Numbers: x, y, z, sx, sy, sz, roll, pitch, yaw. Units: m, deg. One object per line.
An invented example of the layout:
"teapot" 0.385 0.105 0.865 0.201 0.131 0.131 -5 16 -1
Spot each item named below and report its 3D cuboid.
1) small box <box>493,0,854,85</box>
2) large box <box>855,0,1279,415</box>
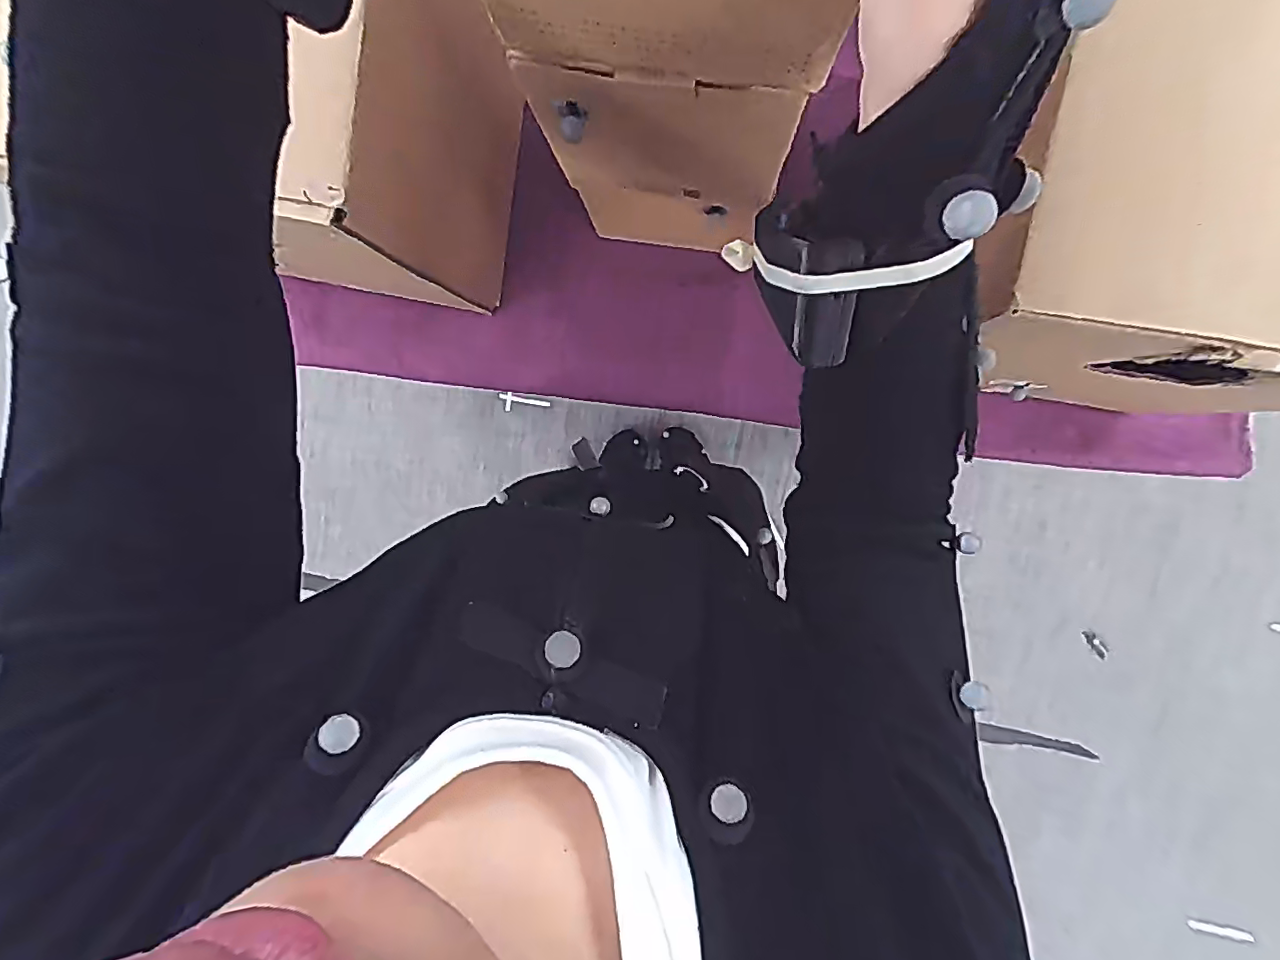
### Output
"small box" 0.021 -0.287 0.199 0.179 0.176 0.168 12 98 4
"large box" 0.399 -0.274 0.426 0.320 0.320 0.408 10 96 4
